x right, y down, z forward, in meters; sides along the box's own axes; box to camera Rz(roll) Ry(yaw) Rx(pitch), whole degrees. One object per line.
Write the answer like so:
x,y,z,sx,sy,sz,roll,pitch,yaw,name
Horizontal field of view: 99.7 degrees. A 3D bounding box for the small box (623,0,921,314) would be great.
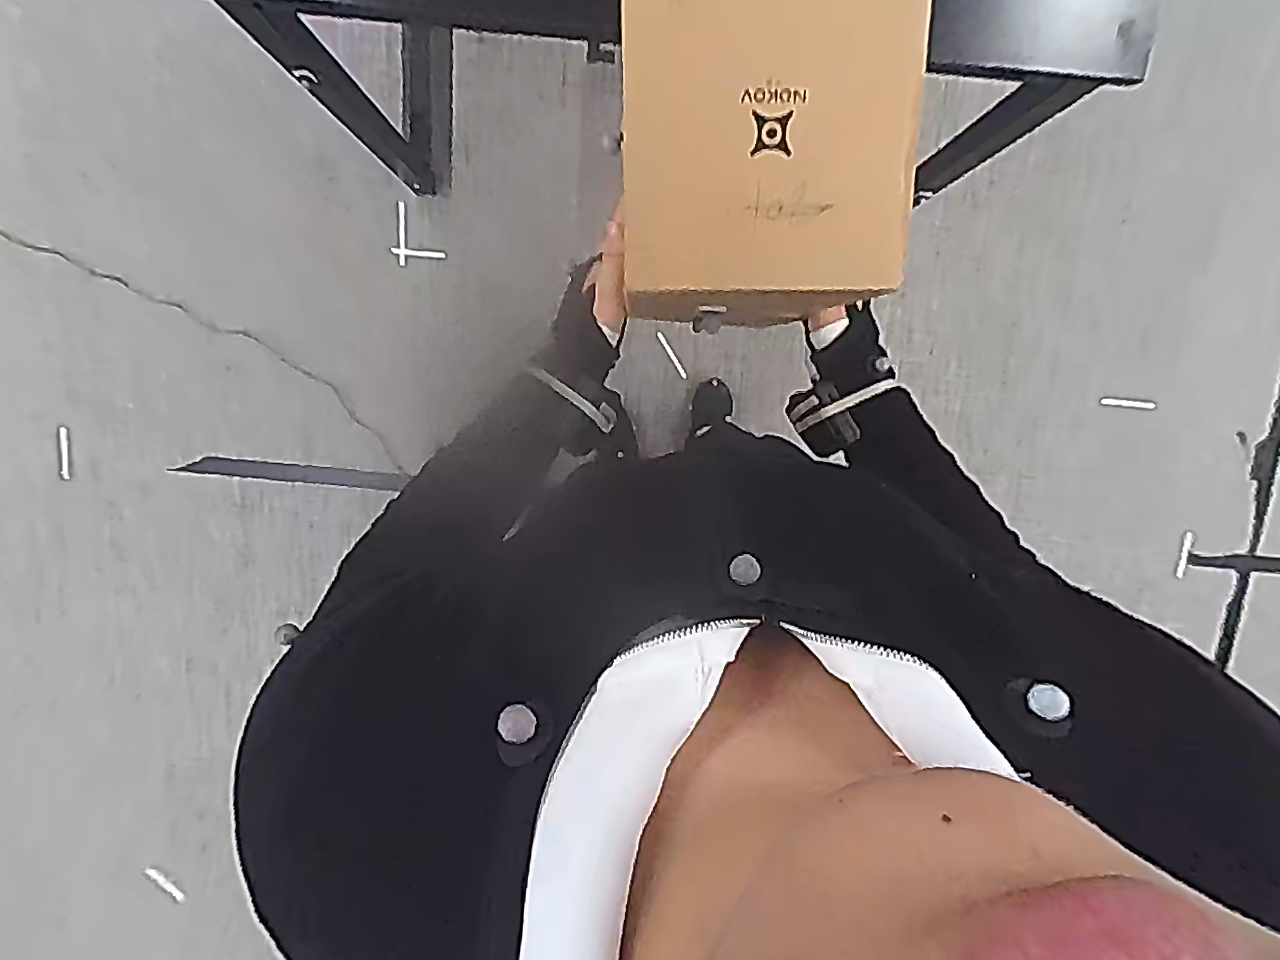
0.071,-0.217,0.387,0.168,0.176,0.179,-1,103,0,small box
